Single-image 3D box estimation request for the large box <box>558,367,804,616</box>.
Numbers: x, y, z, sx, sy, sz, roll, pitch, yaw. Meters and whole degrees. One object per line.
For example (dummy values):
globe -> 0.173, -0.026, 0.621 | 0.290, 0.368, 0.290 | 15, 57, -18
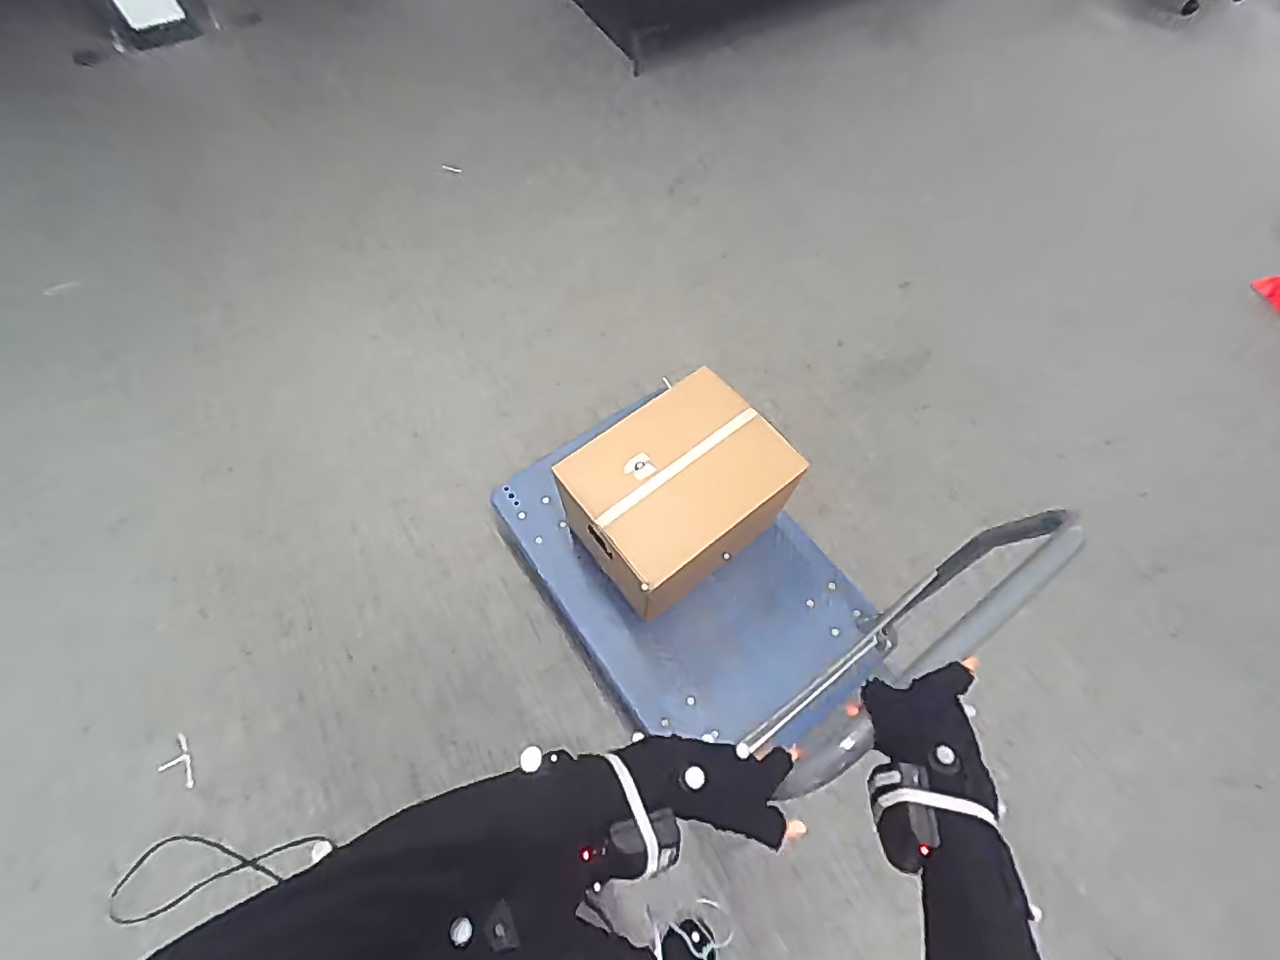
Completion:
large box -> 0.082, 0.035, 1.200 | 0.408, 0.320, 0.320 | -37, 70, -15
